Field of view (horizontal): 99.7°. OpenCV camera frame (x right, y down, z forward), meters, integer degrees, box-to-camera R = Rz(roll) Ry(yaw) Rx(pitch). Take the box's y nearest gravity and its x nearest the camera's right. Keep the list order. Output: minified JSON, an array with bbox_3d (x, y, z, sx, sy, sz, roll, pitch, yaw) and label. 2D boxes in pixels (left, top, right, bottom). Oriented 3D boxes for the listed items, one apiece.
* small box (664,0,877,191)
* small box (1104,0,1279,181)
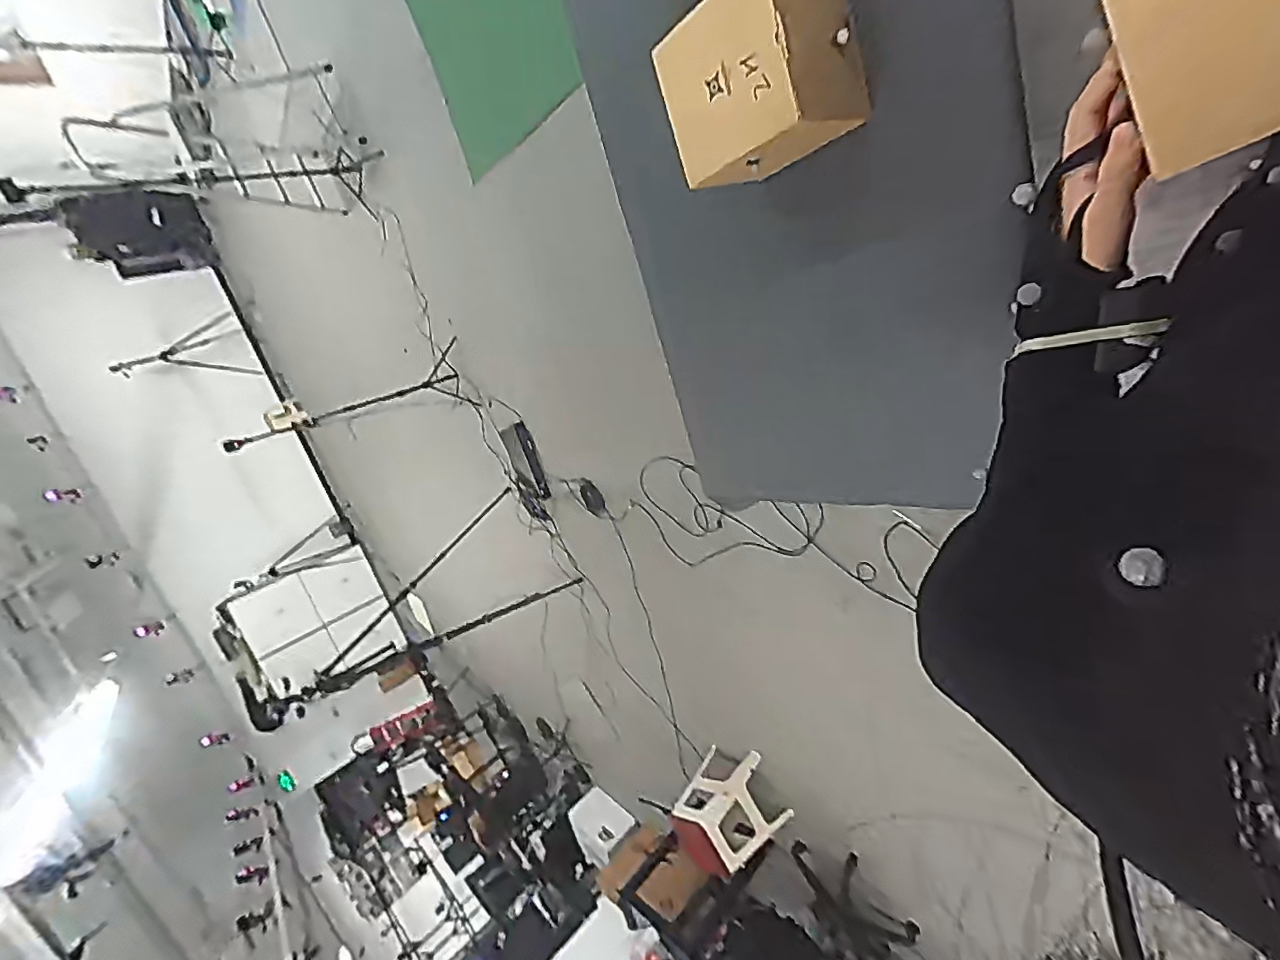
[{"bbox_3d":[0.165,-0.491,0.682,0.179,0.176,0.168,-2,113,52],"label":"small box"},{"bbox_3d":[0.366,-0.290,0.277,0.168,0.176,0.179,-15,101,55],"label":"small box"}]
